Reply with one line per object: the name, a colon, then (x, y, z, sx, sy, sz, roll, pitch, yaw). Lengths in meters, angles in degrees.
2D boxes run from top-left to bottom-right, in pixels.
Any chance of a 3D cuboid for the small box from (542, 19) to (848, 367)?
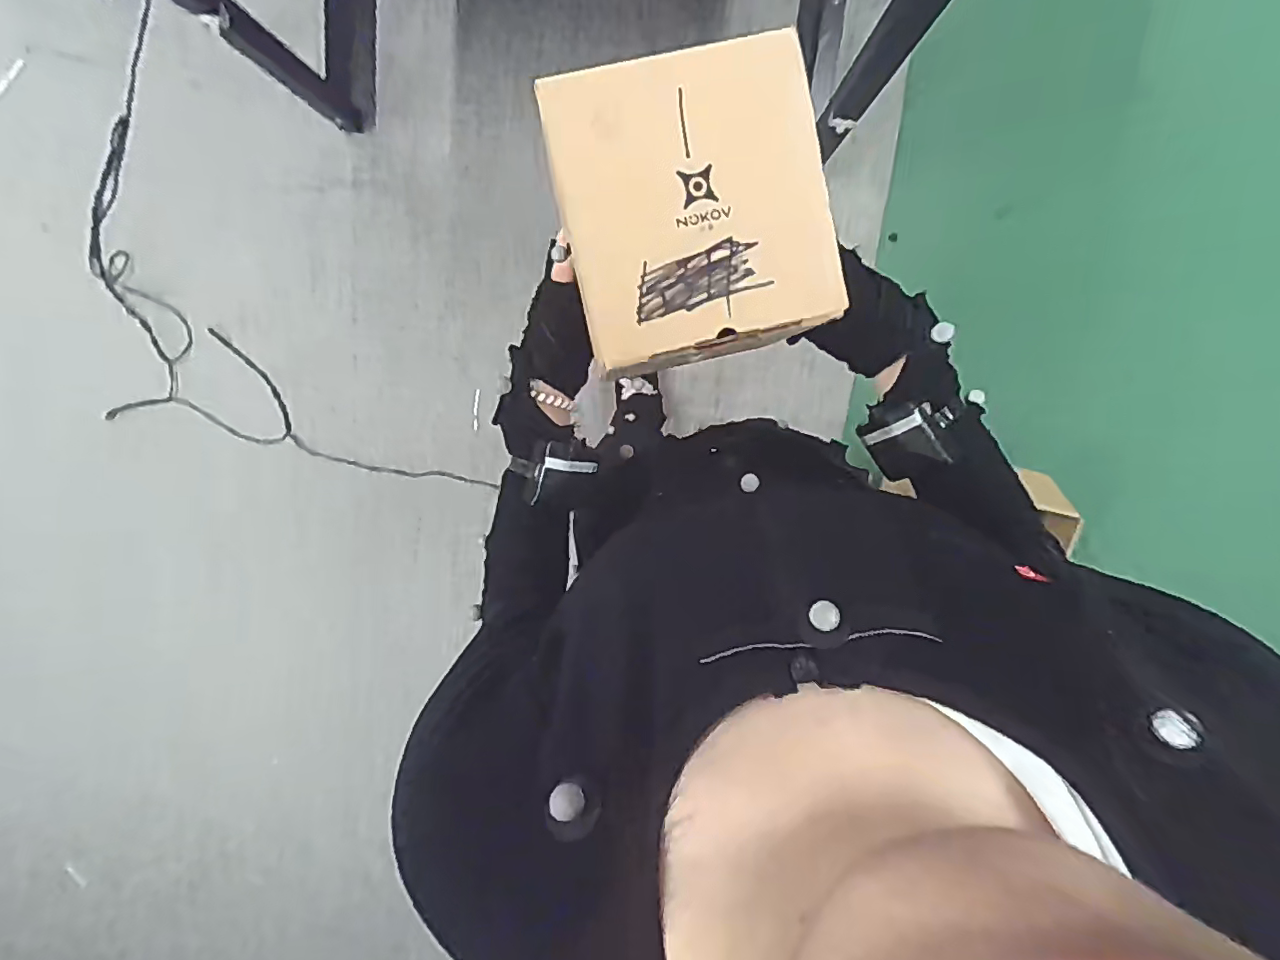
small box: (0.032, -0.187, 0.412, 0.168, 0.176, 0.179, -14, 99, -4)
